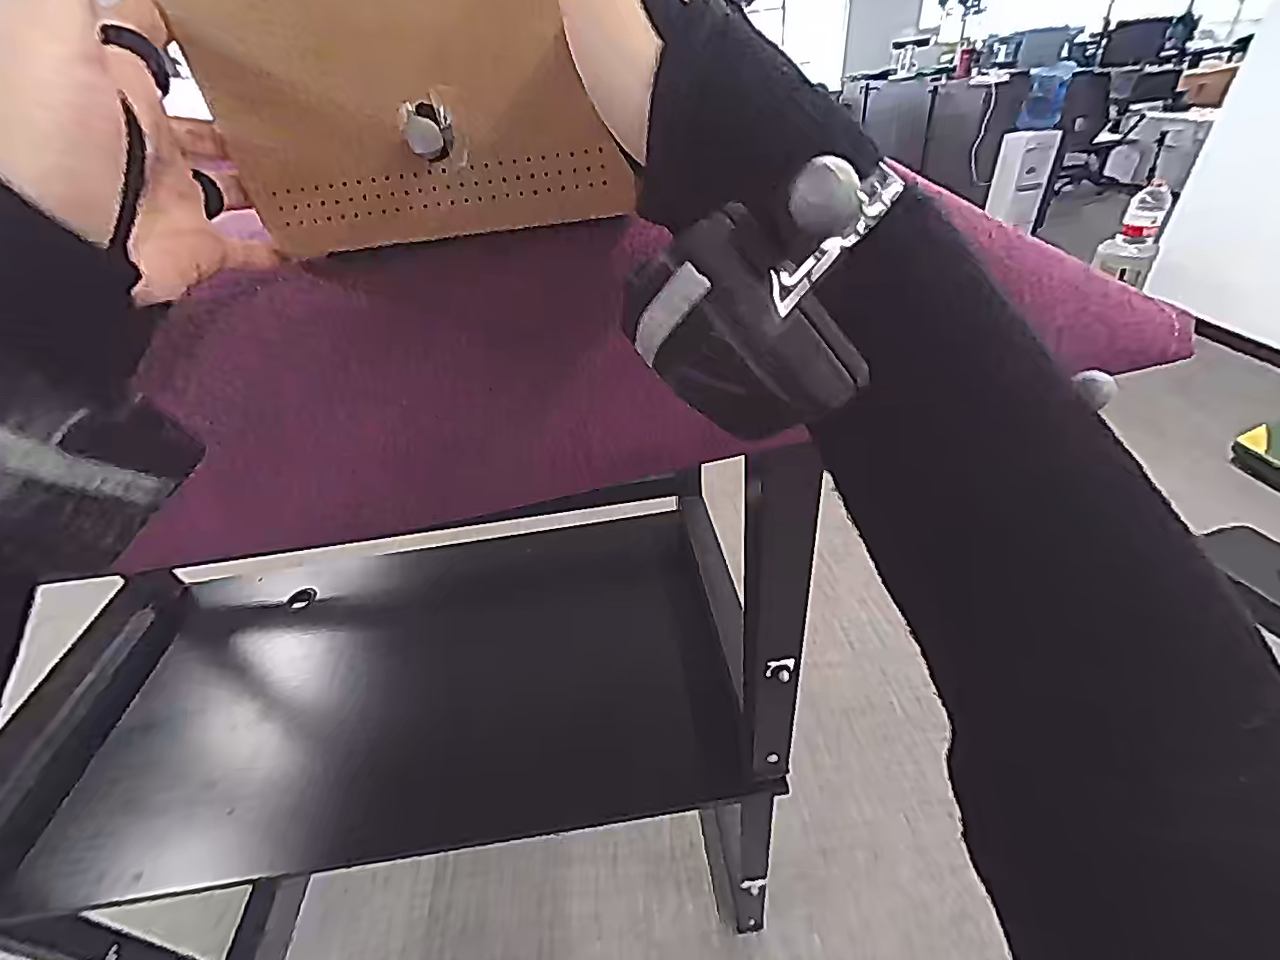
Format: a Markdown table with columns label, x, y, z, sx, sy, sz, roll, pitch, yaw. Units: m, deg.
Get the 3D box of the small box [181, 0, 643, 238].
| label | x | y | z | sx | sy | sz | roll | pitch | yaw |
| --- | --- | --- | --- | --- | --- | --- | --- | --- | --- |
| small box | -0.091 | -0.231 | 0.266 | 0.179 | 0.176 | 0.168 | -7 | 34 | 1 |
